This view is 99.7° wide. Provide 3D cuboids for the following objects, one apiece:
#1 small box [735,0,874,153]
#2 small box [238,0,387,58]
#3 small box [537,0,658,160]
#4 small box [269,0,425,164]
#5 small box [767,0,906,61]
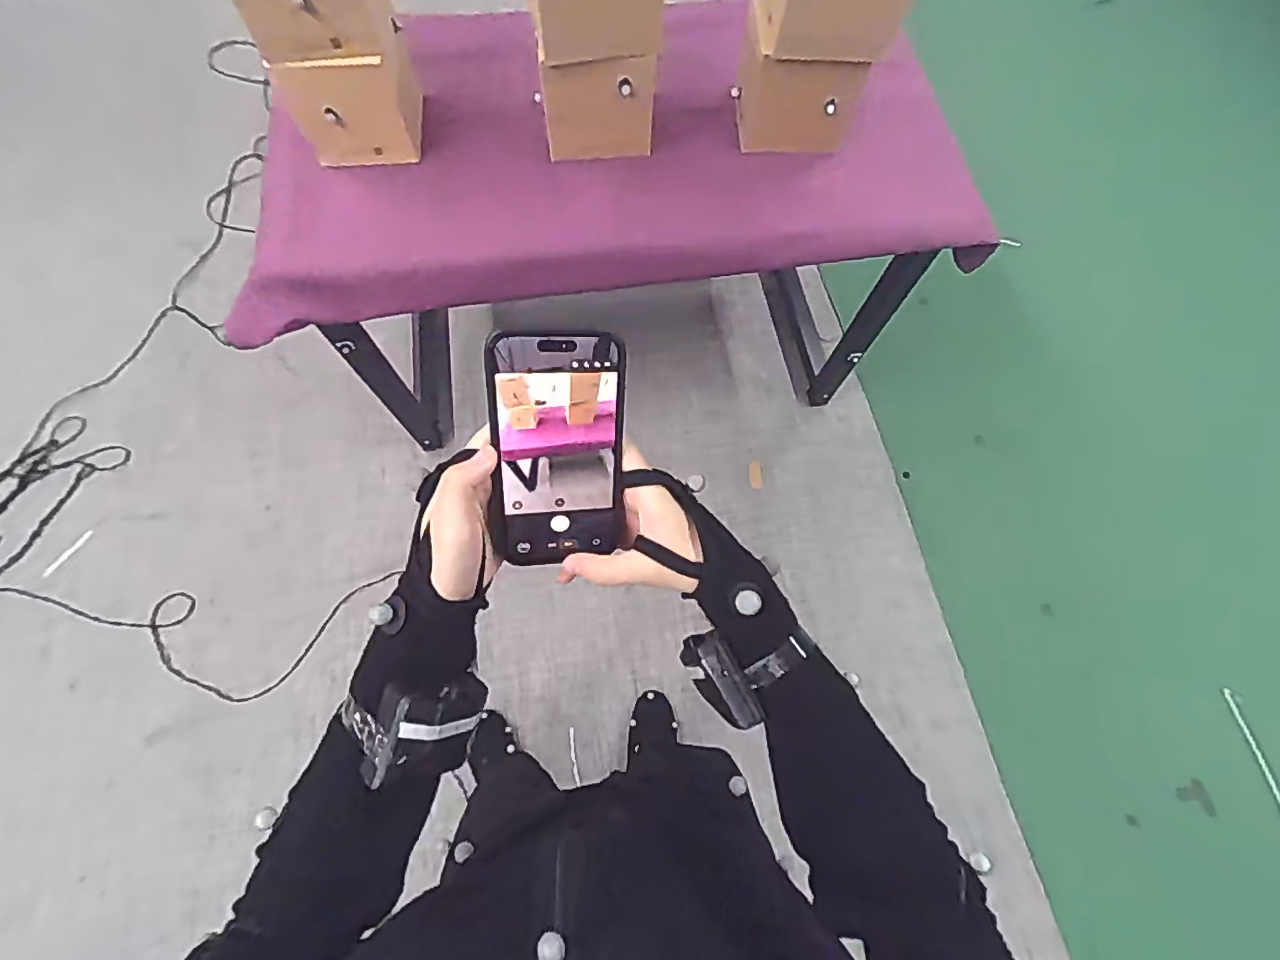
[{"bbox_3d":[0.268,-0.688,0.920,0.179,0.176,0.168,0,69,-1],"label":"small box"},{"bbox_3d":[-0.457,-0.708,0.729,0.168,0.176,0.179,-10,71,-6],"label":"small box"},{"bbox_3d":[-0.071,-0.666,0.899,0.179,0.176,0.168,-6,70,-4],"label":"small box"},{"bbox_3d":[-0.461,-0.644,0.880,0.168,0.176,0.179,-6,70,-4],"label":"small box"},{"bbox_3d":[0.284,-0.732,0.762,0.179,0.176,0.168,0,70,-3],"label":"small box"}]
